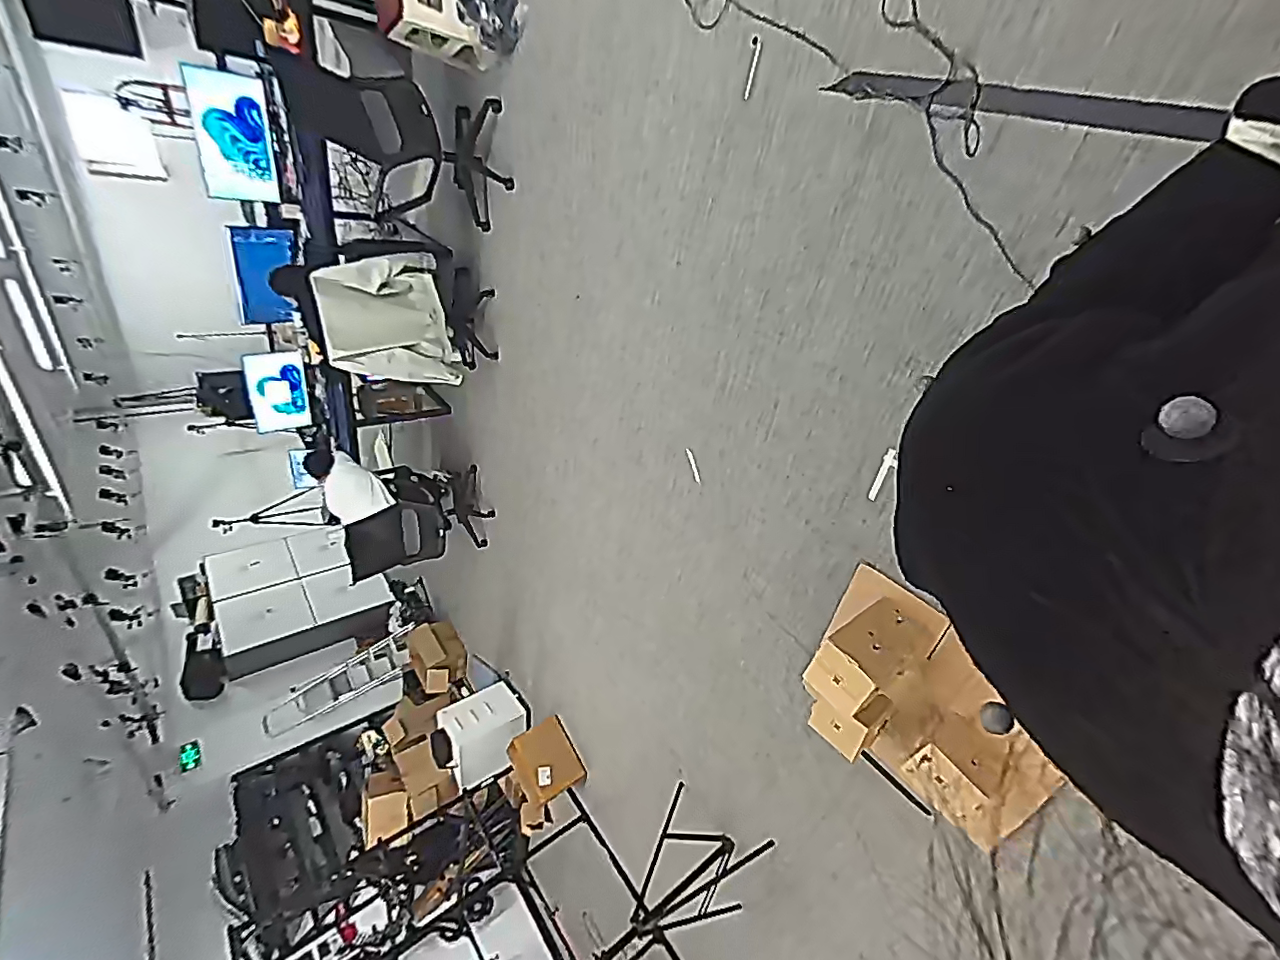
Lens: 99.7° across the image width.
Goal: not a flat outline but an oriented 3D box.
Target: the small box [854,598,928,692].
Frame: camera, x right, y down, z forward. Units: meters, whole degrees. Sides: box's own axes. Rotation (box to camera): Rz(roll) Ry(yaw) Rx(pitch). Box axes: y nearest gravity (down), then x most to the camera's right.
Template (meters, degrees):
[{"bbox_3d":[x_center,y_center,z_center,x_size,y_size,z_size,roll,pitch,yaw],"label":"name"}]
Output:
[{"bbox_3d":[0.724,0.489,1.617,0.168,0.176,0.179,39,130,36],"label":"small box"}]

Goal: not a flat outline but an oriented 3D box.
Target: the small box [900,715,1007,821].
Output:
[{"bbox_3d":[0.885,0.805,1.523,0.179,0.176,0.168,46,134,30],"label":"small box"}]

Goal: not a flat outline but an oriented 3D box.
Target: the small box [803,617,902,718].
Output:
[{"bbox_3d":[0.599,0.522,1.519,0.168,0.176,0.179,43,132,35],"label":"small box"}]

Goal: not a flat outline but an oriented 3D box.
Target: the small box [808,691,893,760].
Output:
[{"bbox_3d":[0.686,0.757,1.764,0.179,0.176,0.168,35,129,40],"label":"small box"}]
